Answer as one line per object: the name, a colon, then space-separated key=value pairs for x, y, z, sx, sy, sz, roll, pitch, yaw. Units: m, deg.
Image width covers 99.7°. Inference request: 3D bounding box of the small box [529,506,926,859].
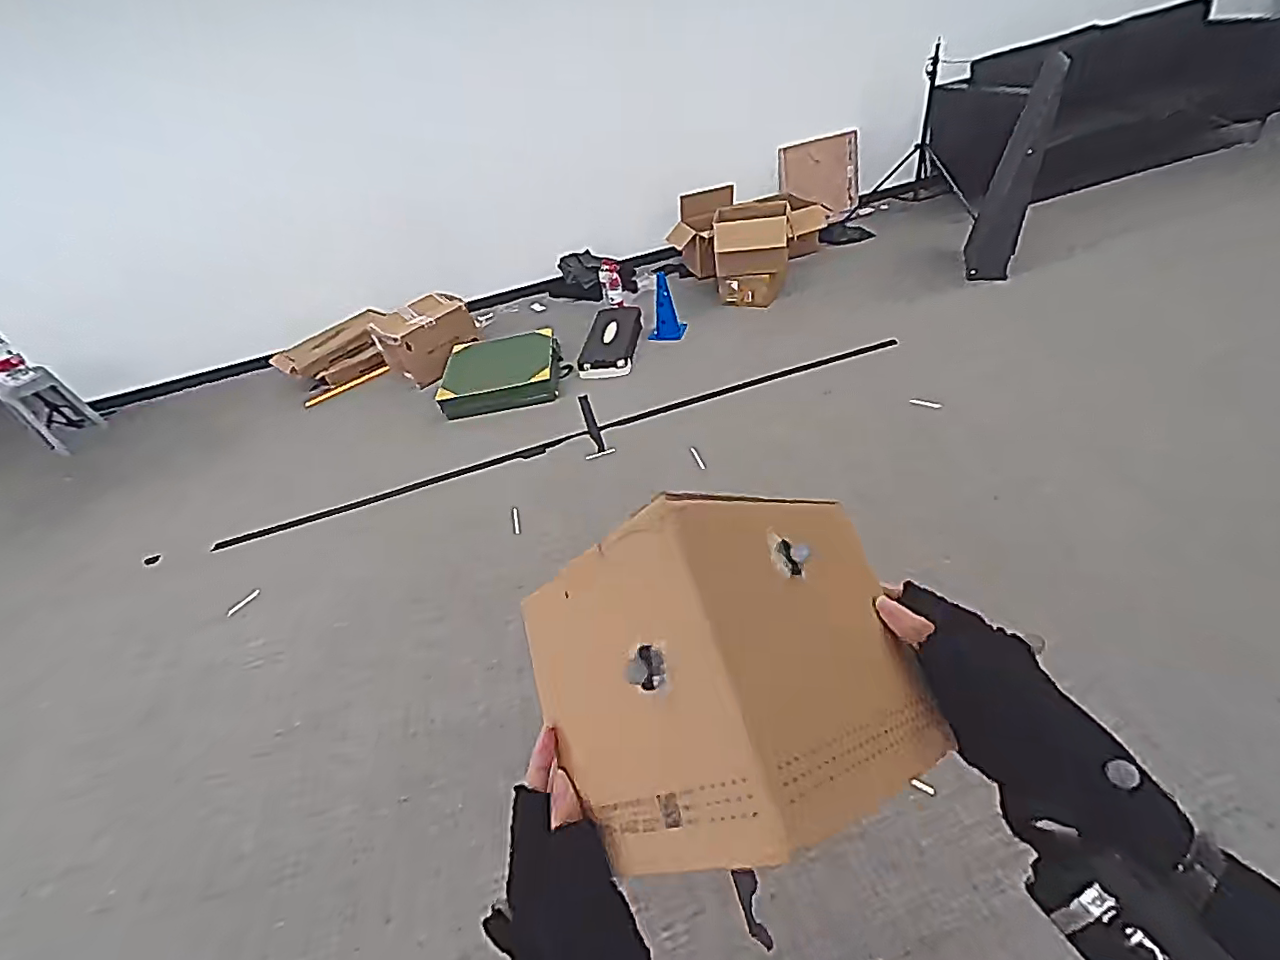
small box: x=0.052 y=0.131 z=0.363 sx=0.179 sy=0.168 sz=0.176 roll=3 pitch=58 yaw=-39
